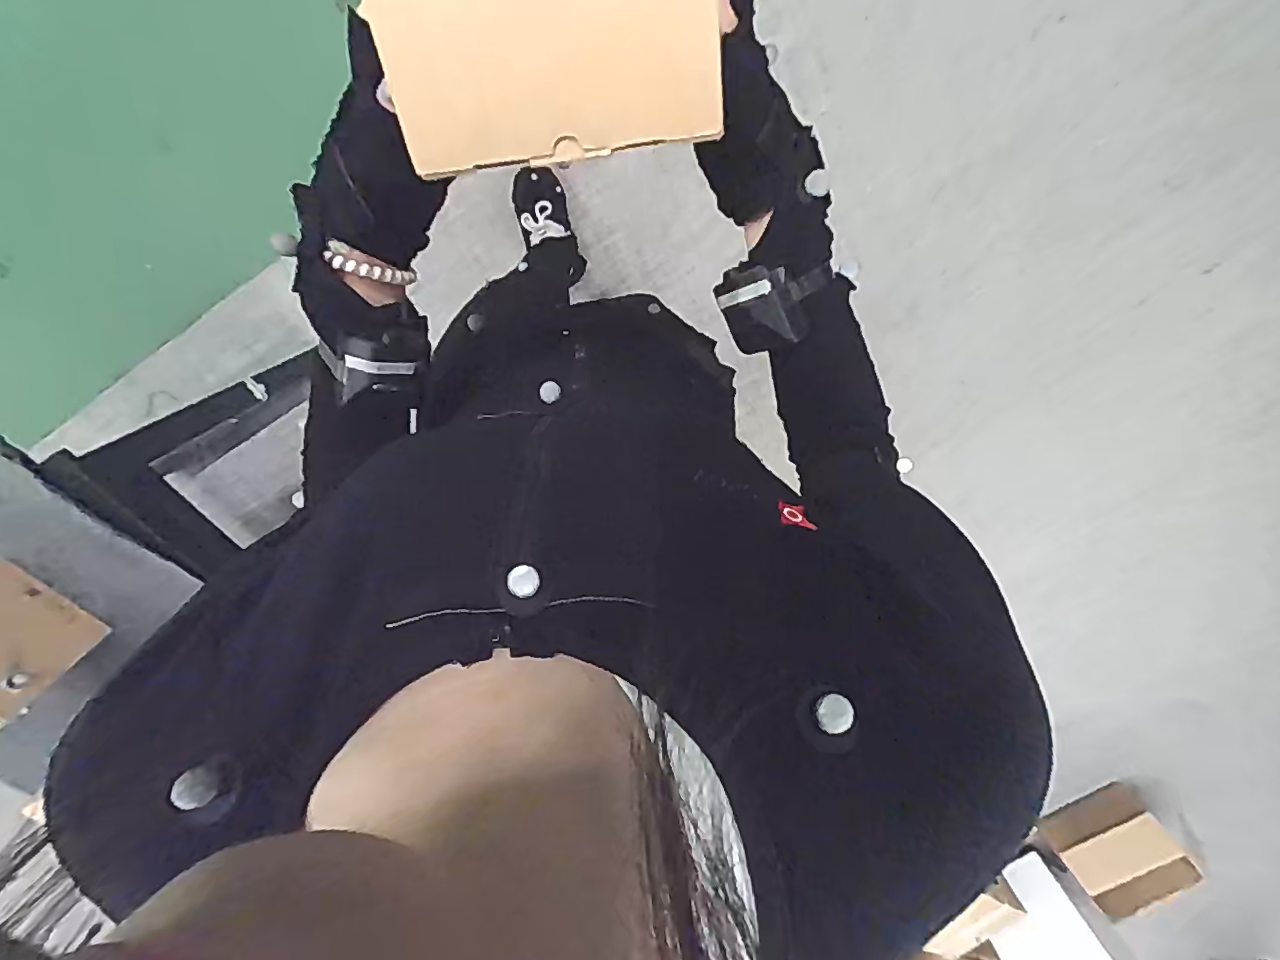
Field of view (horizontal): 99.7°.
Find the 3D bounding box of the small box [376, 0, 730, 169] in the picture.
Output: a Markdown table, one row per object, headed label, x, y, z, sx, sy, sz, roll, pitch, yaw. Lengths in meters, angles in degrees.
| label | x | y | z | sx | sy | sz | roll | pitch | yaw |
| --- | --- | --- | --- | --- | --- | --- | --- | --- | --- |
| small box | -0.048 | -0.291 | 0.301 | 0.168 | 0.176 | 0.179 | -8 | 127 | 1 |
